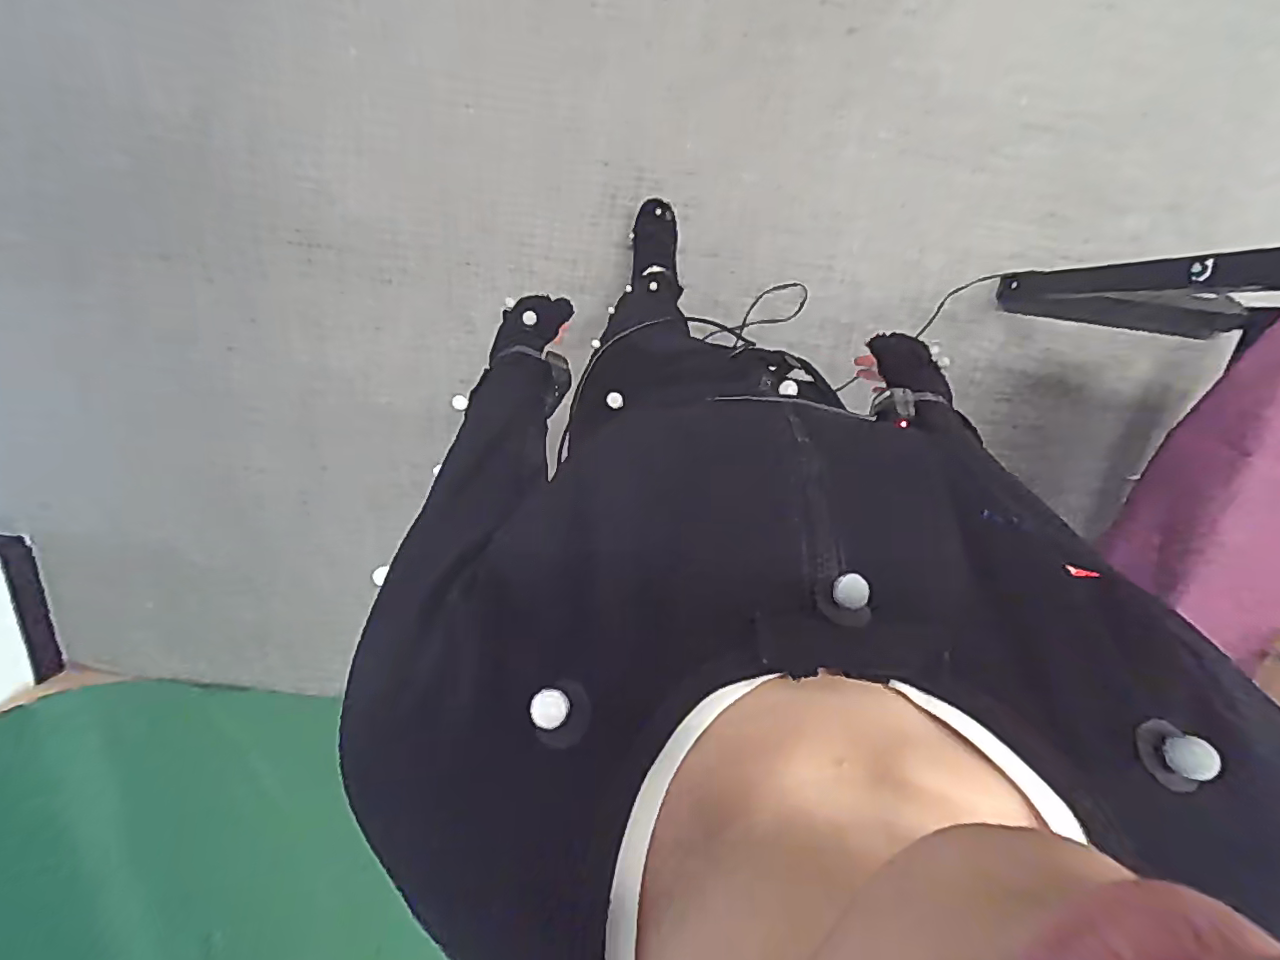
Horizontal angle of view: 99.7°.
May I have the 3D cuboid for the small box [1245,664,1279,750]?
[{"bbox_3d":[0.972,0.320,0.696,0.179,0.176,0.168,9,107,-1],"label":"small box"}]
